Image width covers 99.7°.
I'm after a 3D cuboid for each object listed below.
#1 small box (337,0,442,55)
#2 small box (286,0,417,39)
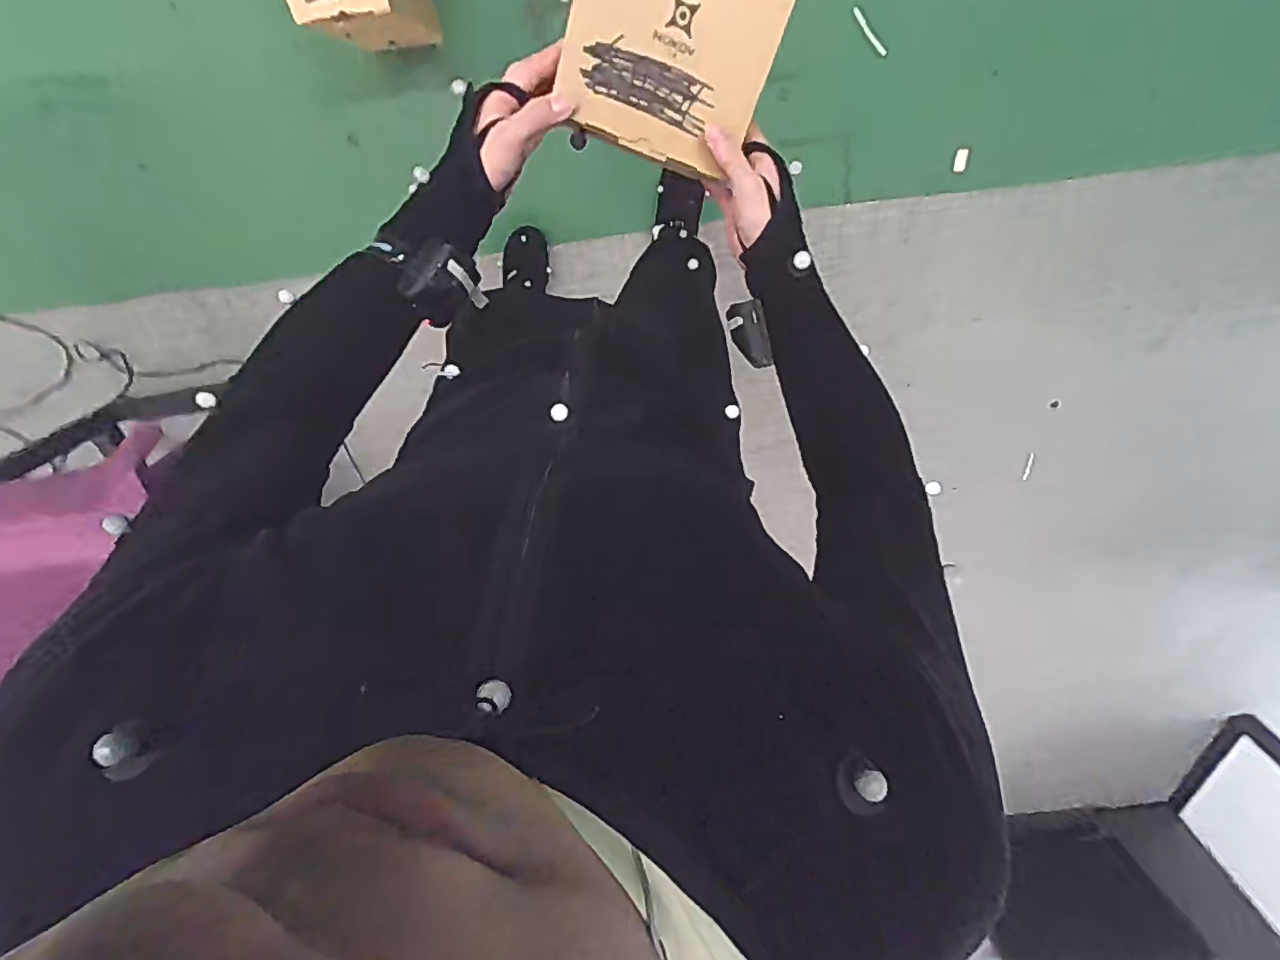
[{"bbox_3d":[-0.508,-0.959,1.055,0.168,0.176,0.179,-7,123,1],"label":"small box"},{"bbox_3d":[-0.501,-0.872,0.916,0.168,0.176,0.179,-7,122,1],"label":"small box"}]
